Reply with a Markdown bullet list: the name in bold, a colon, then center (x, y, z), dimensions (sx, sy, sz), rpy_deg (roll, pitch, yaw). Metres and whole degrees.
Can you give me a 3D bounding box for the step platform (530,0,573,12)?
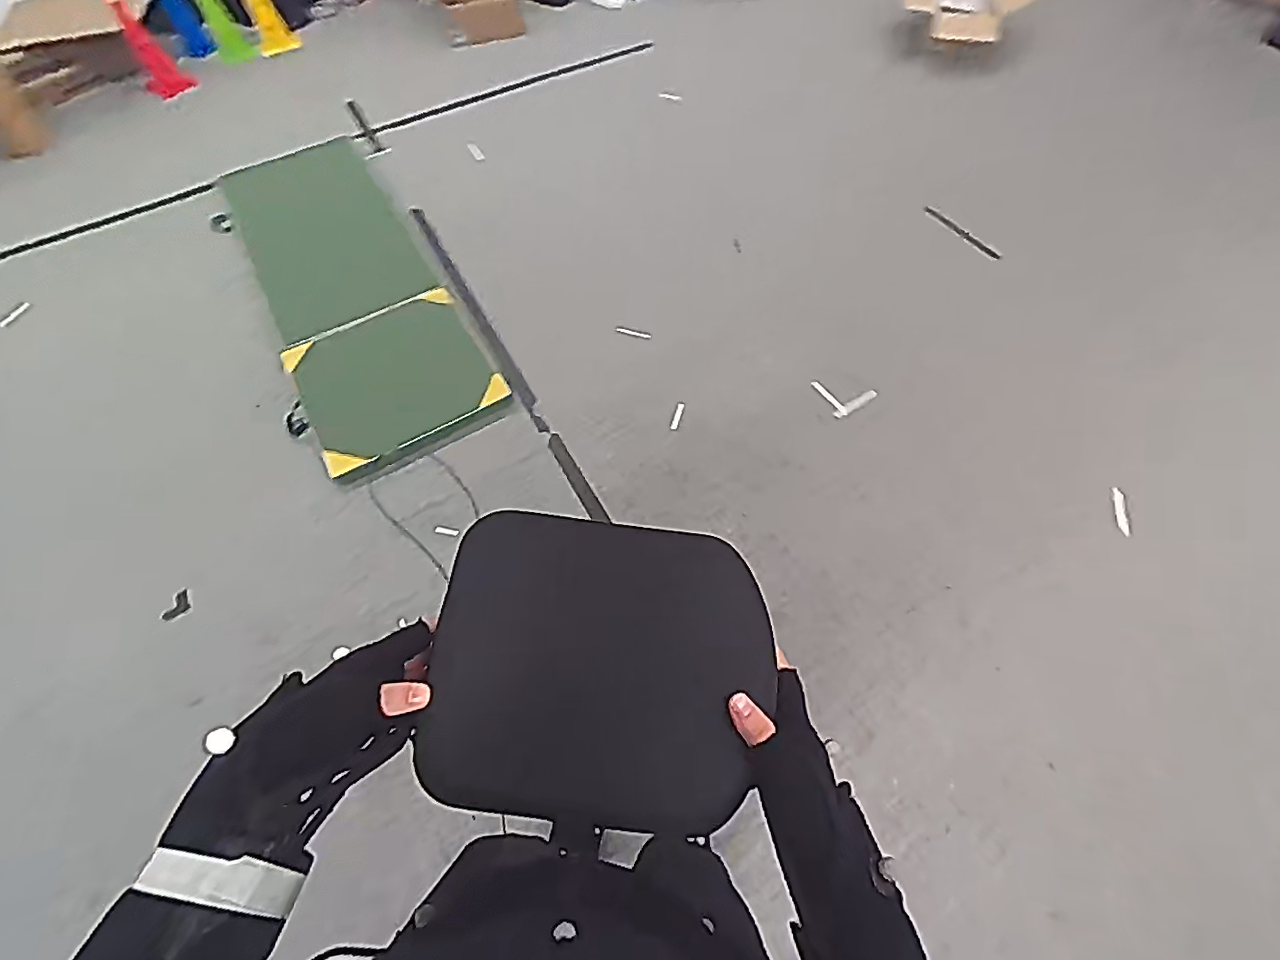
- **step platform**: center (-0.402, -3.108, 3.275), dimensions (0.286, 0.204, 0.684), rpy_deg (26, 65, 15)
